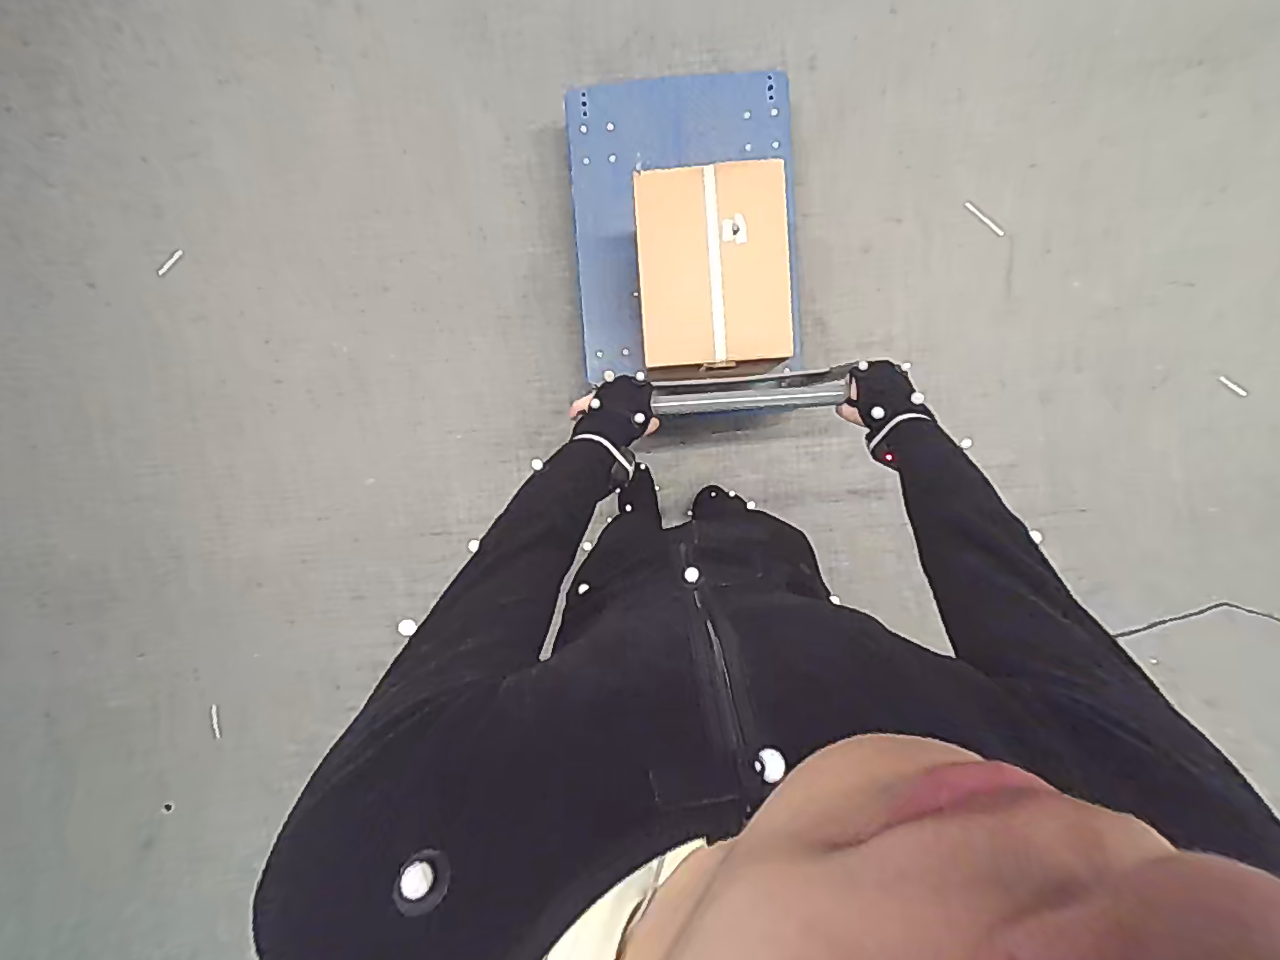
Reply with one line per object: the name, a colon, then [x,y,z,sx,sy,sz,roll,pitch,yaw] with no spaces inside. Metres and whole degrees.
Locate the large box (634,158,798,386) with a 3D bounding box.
large box: [0.162,-0.450,1.257,0.320,0.320,0.408,-4,92,1]
